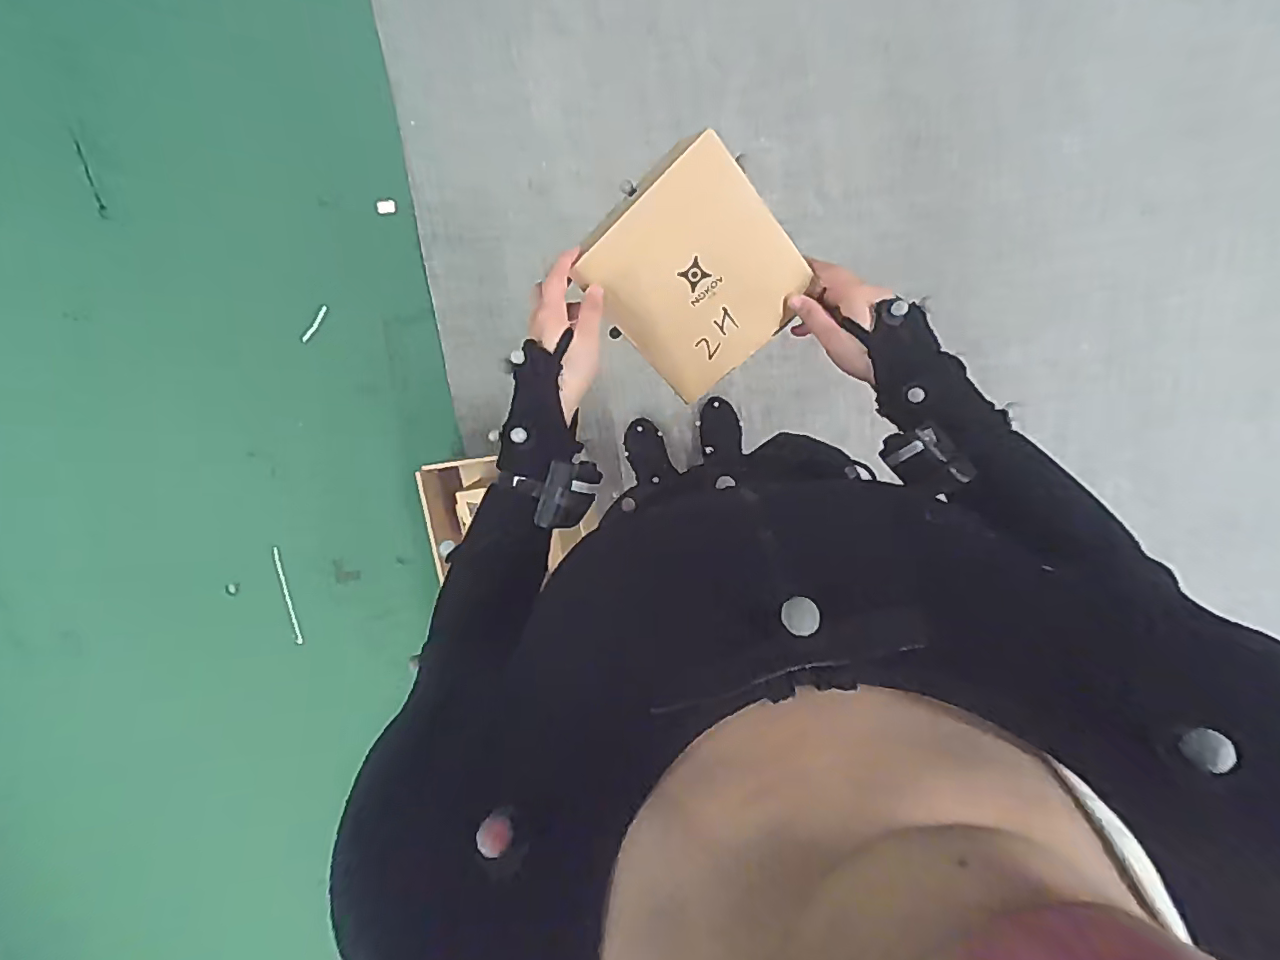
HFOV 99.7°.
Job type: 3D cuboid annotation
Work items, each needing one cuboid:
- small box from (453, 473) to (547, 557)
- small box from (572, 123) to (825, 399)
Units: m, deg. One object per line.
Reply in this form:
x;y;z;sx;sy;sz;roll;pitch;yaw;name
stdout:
-0.354;0.087;1.399;0.179;0.176;0.168;-10;101;3;small box
0.049;-0.219;0.555;0.168;0.176;0.179;-39;115;16;small box
